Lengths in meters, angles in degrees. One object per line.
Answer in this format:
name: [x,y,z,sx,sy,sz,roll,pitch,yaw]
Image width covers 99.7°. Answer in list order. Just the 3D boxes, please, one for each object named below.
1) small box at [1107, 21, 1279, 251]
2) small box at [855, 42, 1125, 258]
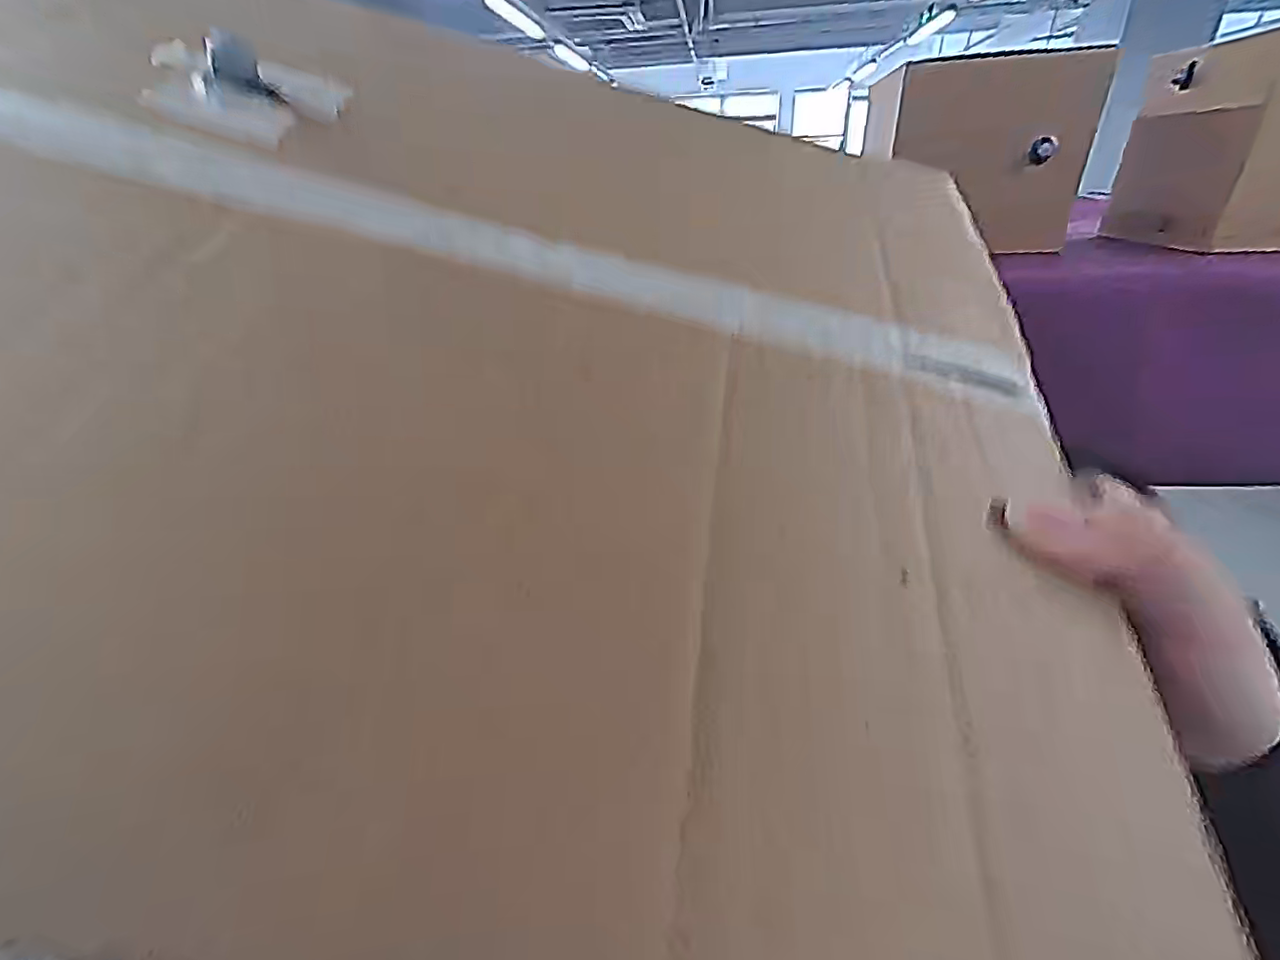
small box: [0.600,-0.314,0.502,0.179,0.176,0.168,2,29,8]
small box: [0.343,-0.339,0.576,0.179,0.176,0.168,2,29,10]
